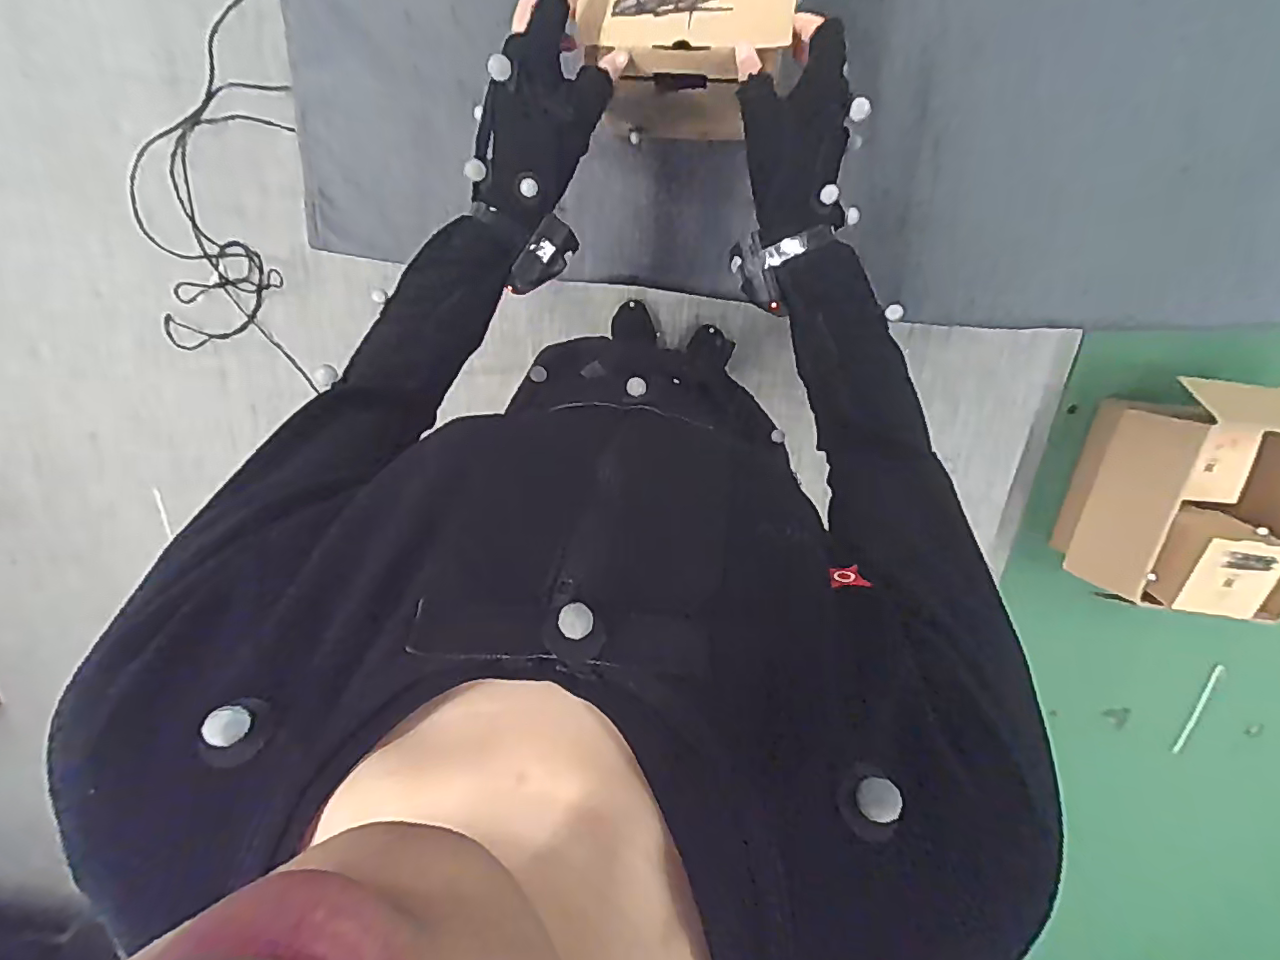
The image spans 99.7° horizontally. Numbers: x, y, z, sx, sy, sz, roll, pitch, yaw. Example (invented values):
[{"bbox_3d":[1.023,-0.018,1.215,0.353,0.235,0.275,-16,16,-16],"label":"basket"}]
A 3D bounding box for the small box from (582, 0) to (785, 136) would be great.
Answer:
[{"bbox_3d":[0.045,-0.438,0.497,0.168,0.176,0.179,5,108,4],"label":"small box"}]
